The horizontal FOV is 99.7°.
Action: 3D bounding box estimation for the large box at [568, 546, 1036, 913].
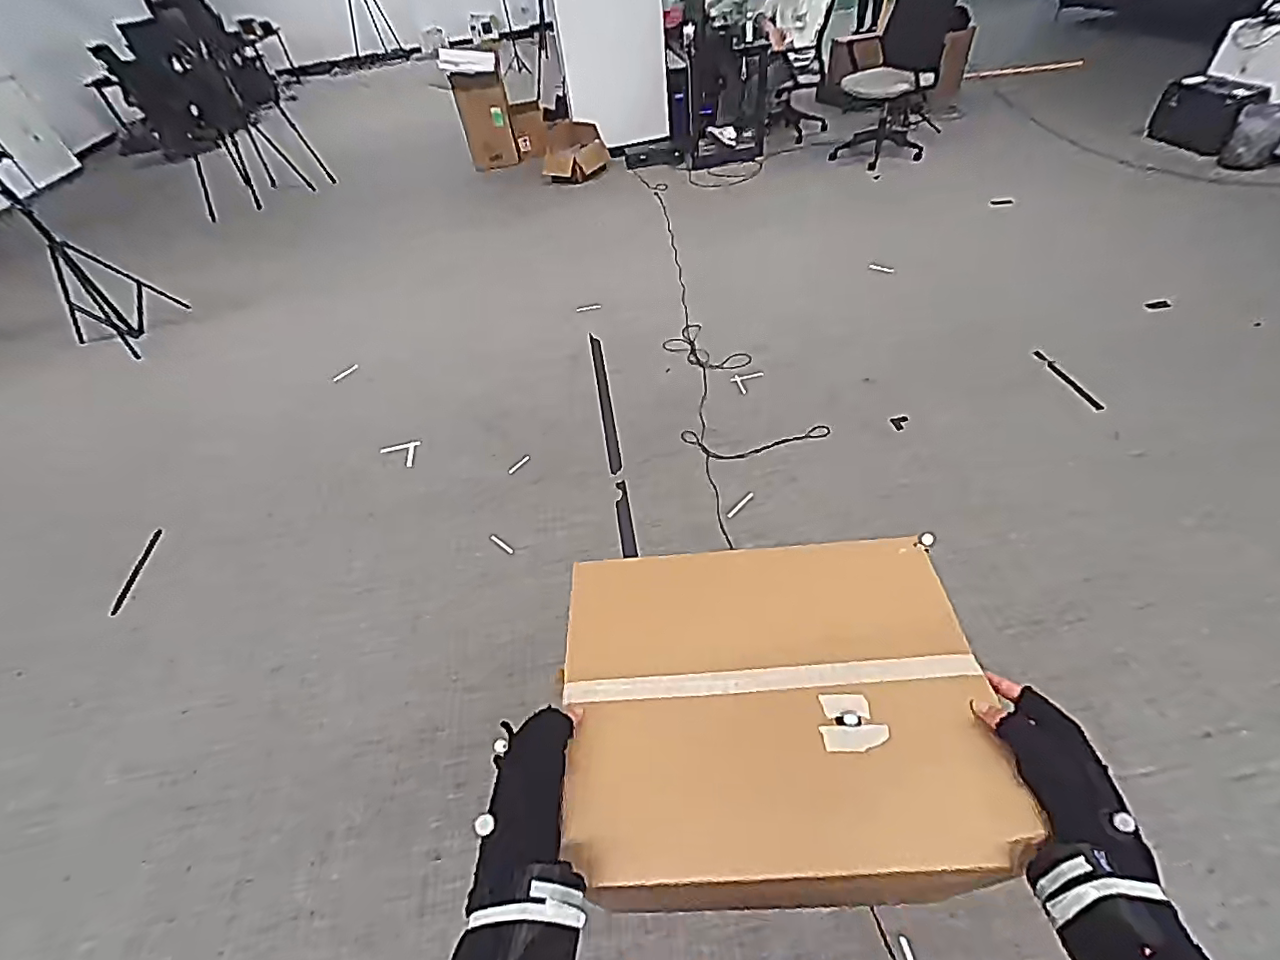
[{"bbox_3d":[0.139,0.309,0.661,0.408,0.320,0.320,-5,48,2],"label":"large box"}]
